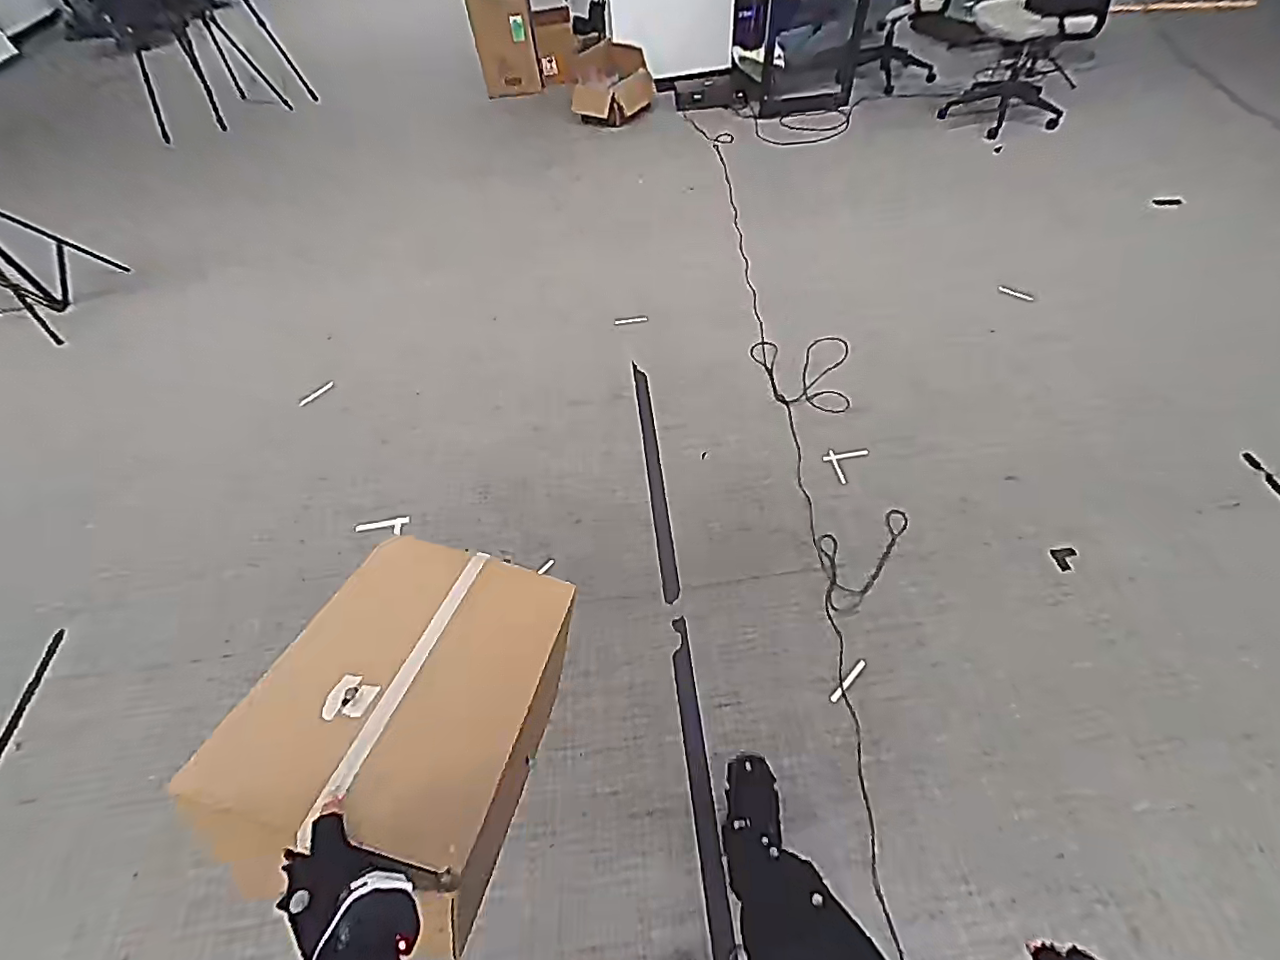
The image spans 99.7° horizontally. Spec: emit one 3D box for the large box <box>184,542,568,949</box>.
[{"bbox_3d":[-0.322,0.366,0.798,0.320,0.320,0.408,15,38,2],"label":"large box"}]
